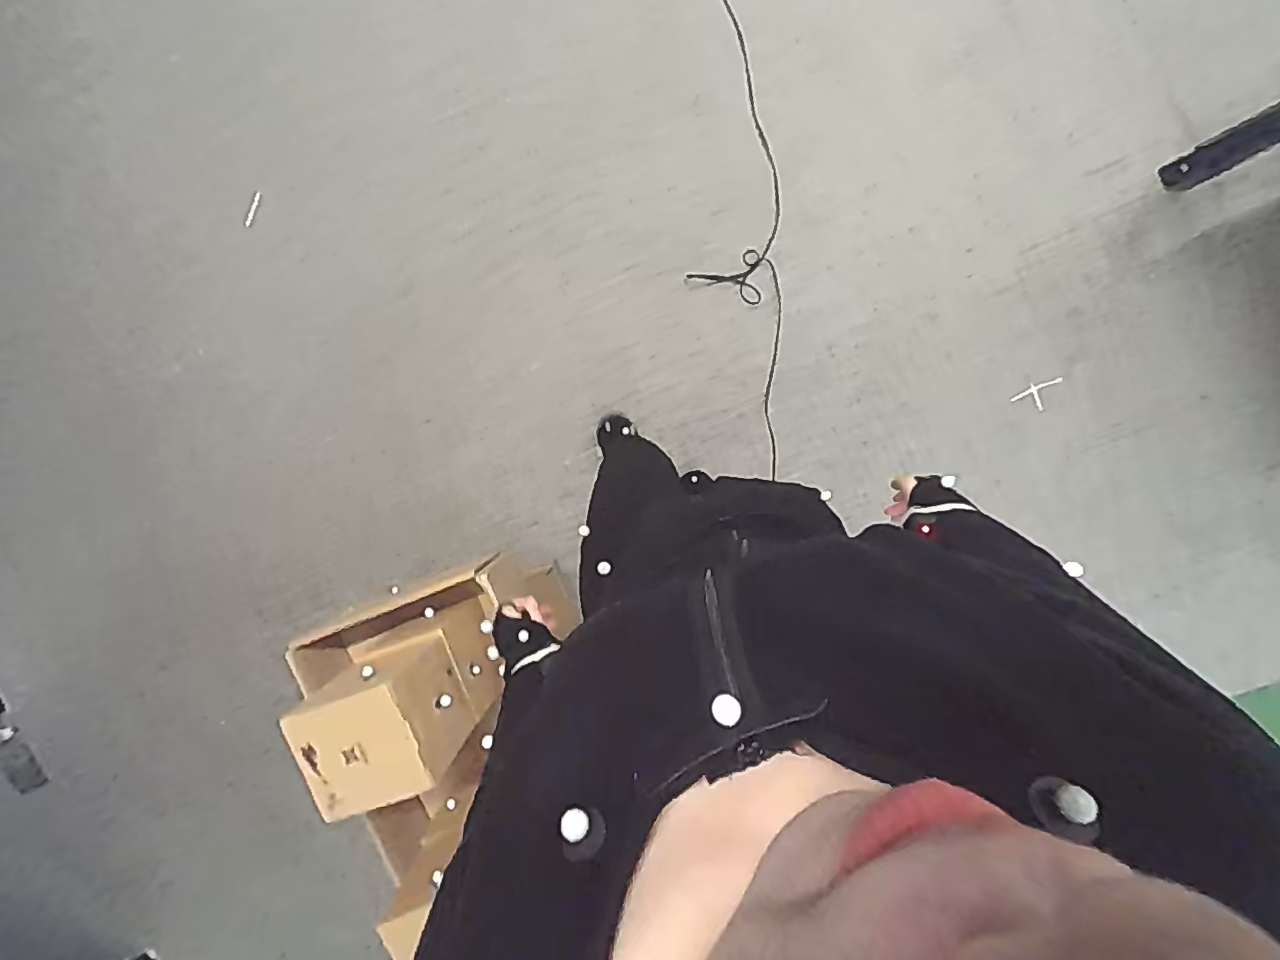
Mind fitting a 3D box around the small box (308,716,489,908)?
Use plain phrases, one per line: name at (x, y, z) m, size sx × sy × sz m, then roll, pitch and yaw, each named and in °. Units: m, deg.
small box at (-0.337, 0.471, 0.796) m, size 0.179 × 0.176 × 0.168 m, roll -13°, pitch 89°, yaw 4°
